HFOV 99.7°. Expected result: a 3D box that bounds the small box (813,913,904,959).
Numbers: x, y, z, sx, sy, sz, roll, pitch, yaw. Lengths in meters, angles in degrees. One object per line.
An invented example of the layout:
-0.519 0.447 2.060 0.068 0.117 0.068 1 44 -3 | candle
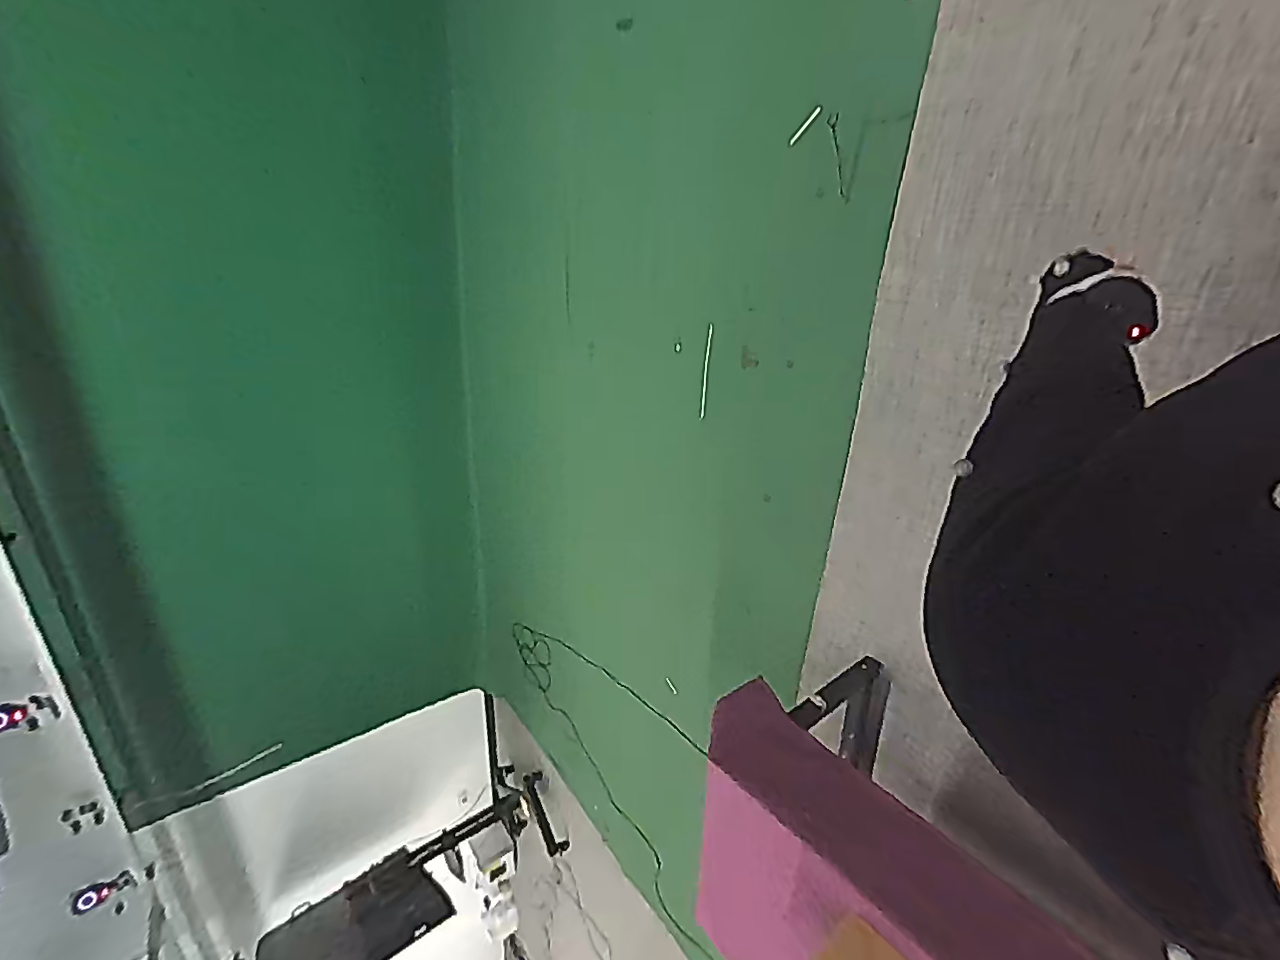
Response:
0.411 0.965 0.993 0.179 0.176 0.168 22 118 47 | small box
